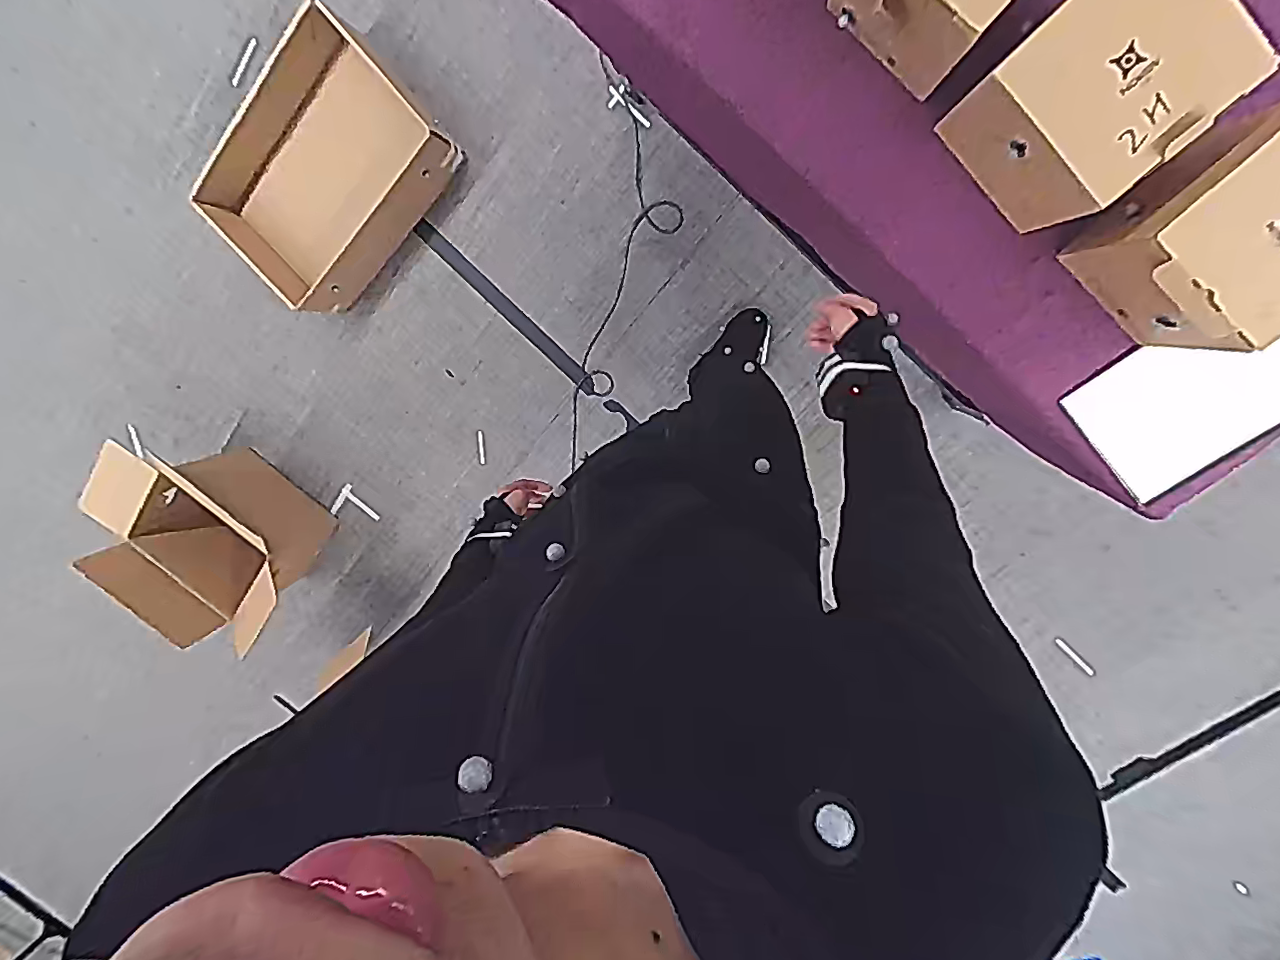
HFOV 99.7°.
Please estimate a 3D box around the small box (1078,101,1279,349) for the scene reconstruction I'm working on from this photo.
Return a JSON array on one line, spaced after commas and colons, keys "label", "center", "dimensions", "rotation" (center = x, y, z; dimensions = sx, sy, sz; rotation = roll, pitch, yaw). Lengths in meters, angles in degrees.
[{"label": "small box", "center": [0.626, -0.263, 0.579], "dimensions": [0.168, 0.176, 0.179], "rotation": [44, 108, -5]}]
